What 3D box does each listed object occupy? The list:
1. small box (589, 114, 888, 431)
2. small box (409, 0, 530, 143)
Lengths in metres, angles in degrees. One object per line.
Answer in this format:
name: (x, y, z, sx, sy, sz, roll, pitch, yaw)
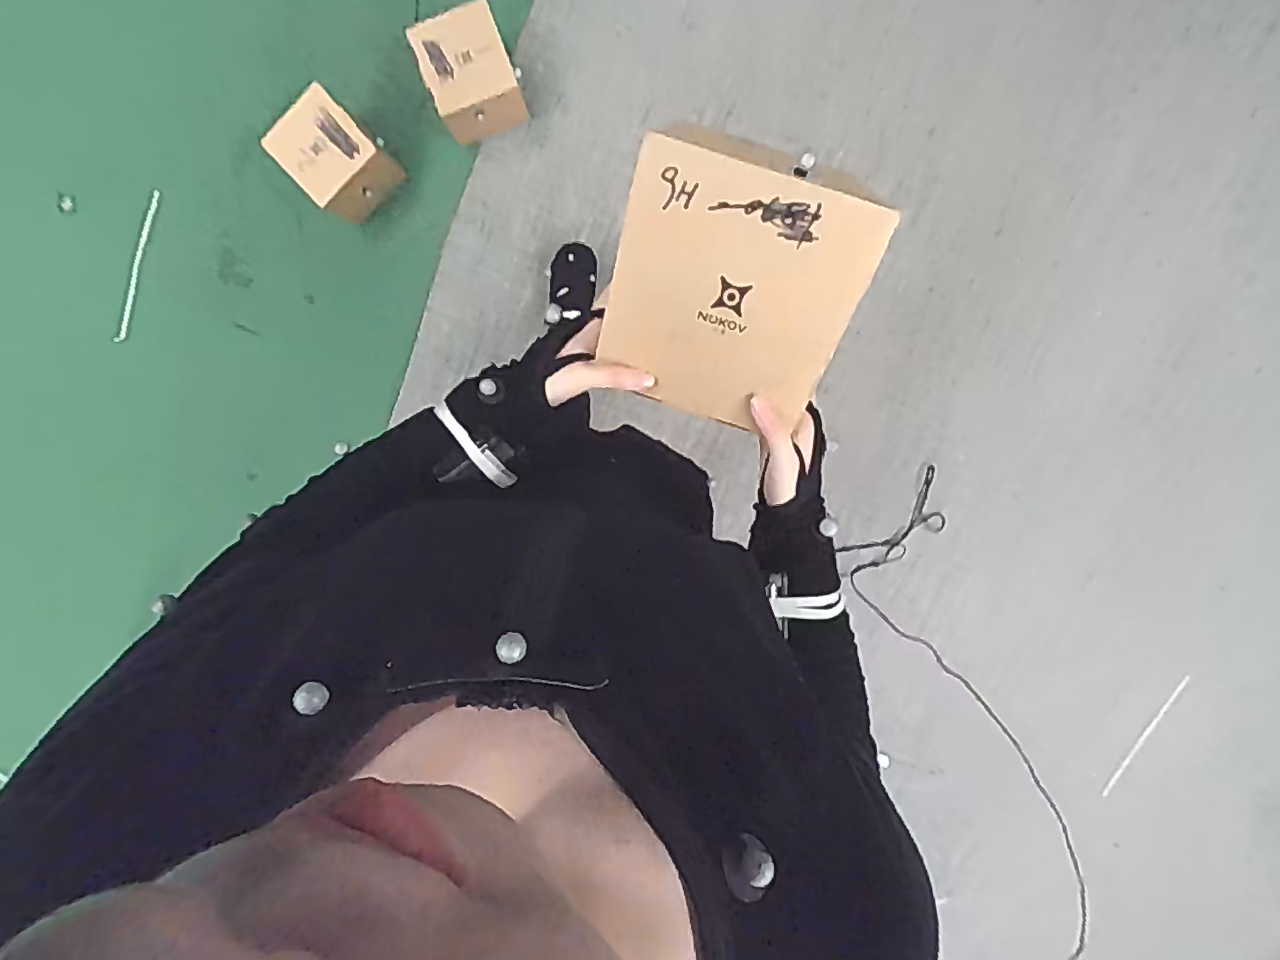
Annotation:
small box: (0.071, -0.174, 0.442, 0.168, 0.176, 0.179, 18, 127, 0)
small box: (-0.355, -0.865, 1.164, 0.179, 0.176, 0.168, -21, 103, 2)
